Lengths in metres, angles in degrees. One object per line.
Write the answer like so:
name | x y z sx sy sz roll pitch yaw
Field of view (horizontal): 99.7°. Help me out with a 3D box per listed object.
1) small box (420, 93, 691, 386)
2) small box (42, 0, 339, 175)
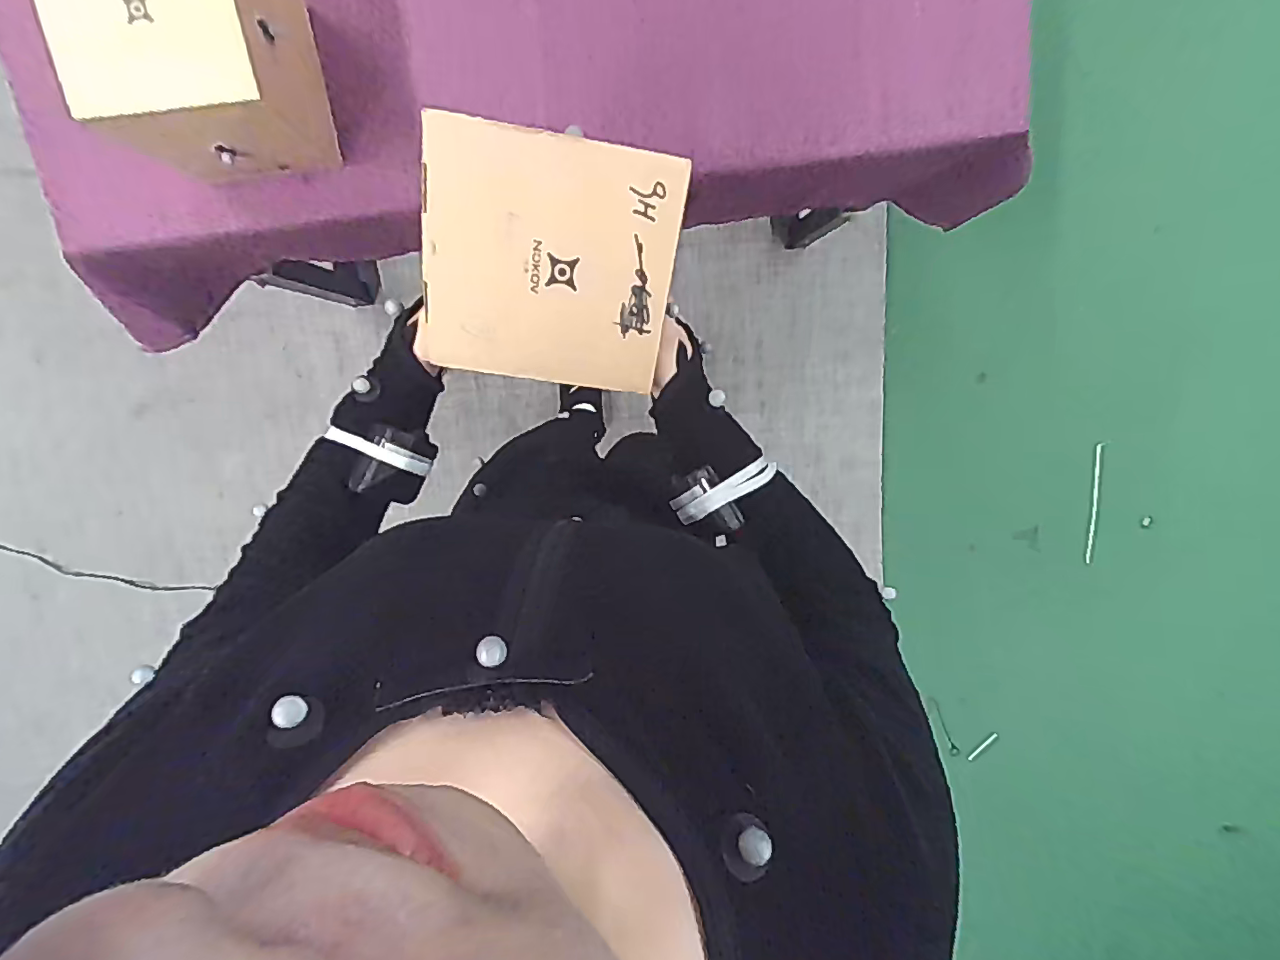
small box | -0.068 -0.194 0.453 0.179 0.176 0.168 8 117 -7
small box | -0.439 -0.432 0.551 0.168 0.176 0.179 -8 101 -3
